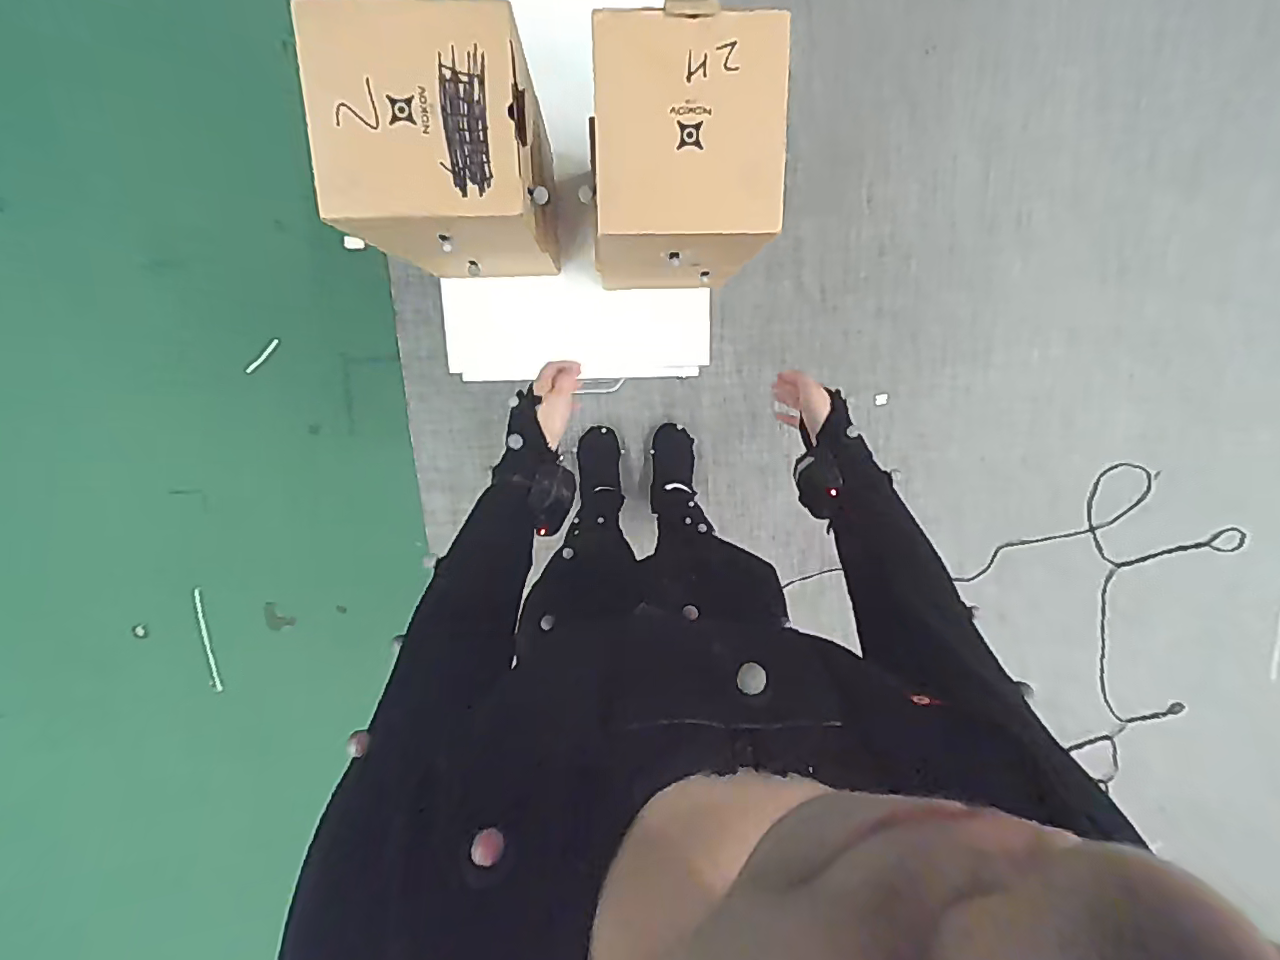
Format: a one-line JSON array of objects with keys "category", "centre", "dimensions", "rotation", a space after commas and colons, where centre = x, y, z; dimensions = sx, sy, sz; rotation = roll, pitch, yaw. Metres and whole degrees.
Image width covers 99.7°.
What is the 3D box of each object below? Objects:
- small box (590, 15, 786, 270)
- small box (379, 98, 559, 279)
[{"category": "small box", "centre": [0.037, -0.314, 0.542], "dimensions": [0.168, 0.176, 0.179], "rotation": [-1, 101, -3]}, {"category": "small box", "centre": [-0.203, -0.357, 0.691], "dimensions": [0.179, 0.176, 0.168], "rotation": [-3, 102, -3]}]
